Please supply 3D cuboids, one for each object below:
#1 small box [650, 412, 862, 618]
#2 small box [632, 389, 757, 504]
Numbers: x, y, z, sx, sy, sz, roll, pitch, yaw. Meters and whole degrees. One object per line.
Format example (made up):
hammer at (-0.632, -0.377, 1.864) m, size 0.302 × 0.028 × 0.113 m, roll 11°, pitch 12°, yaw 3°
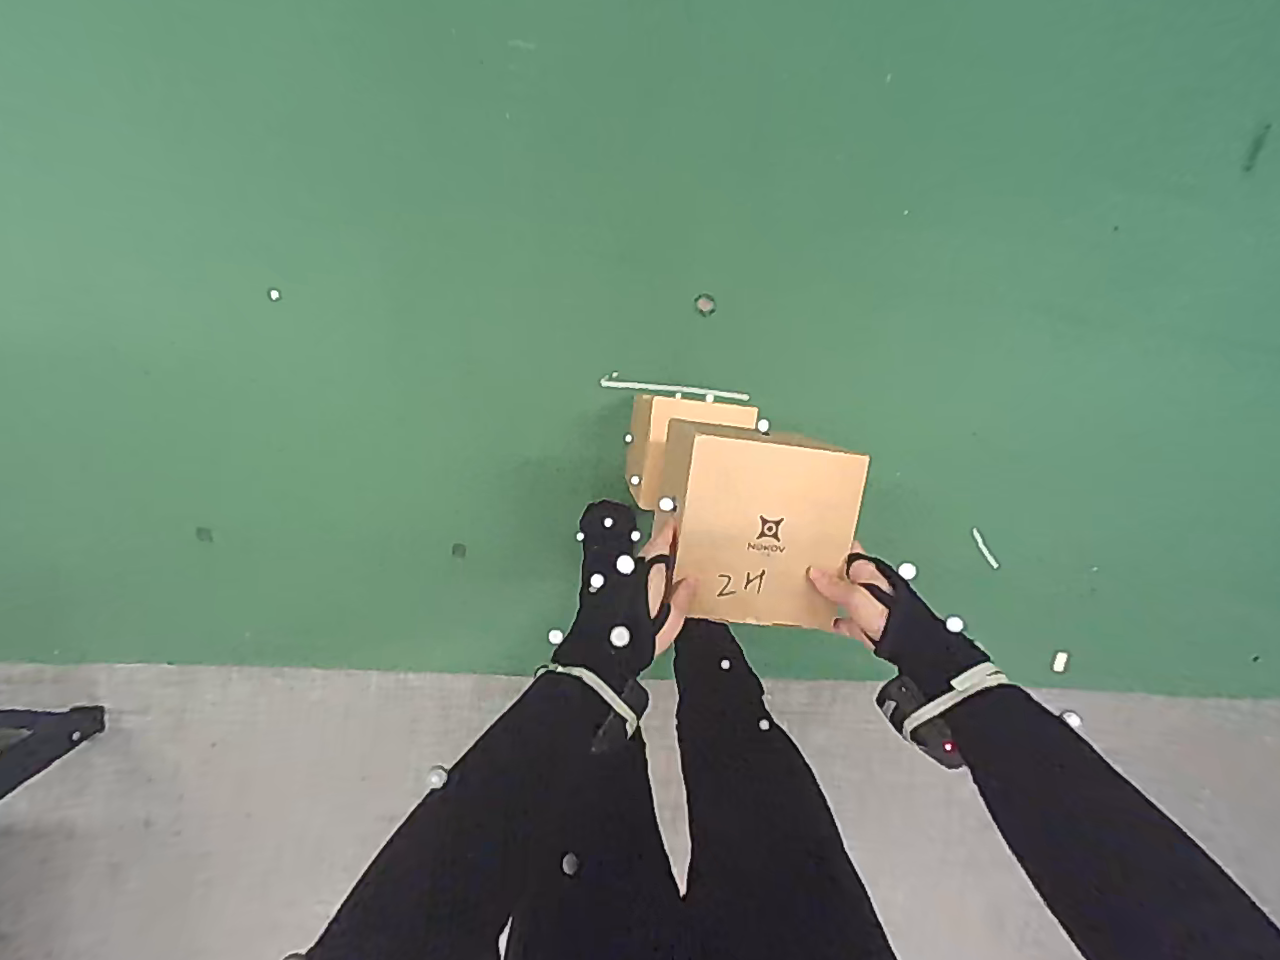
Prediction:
small box at (0.106, 0.025, 0.579) m, size 0.168 × 0.176 × 0.179 m, roll 7°, pitch 101°, yaw -5°
small box at (0.081, -0.054, 0.903) m, size 0.168 × 0.176 × 0.179 m, roll 5°, pitch 98°, yaw -7°
